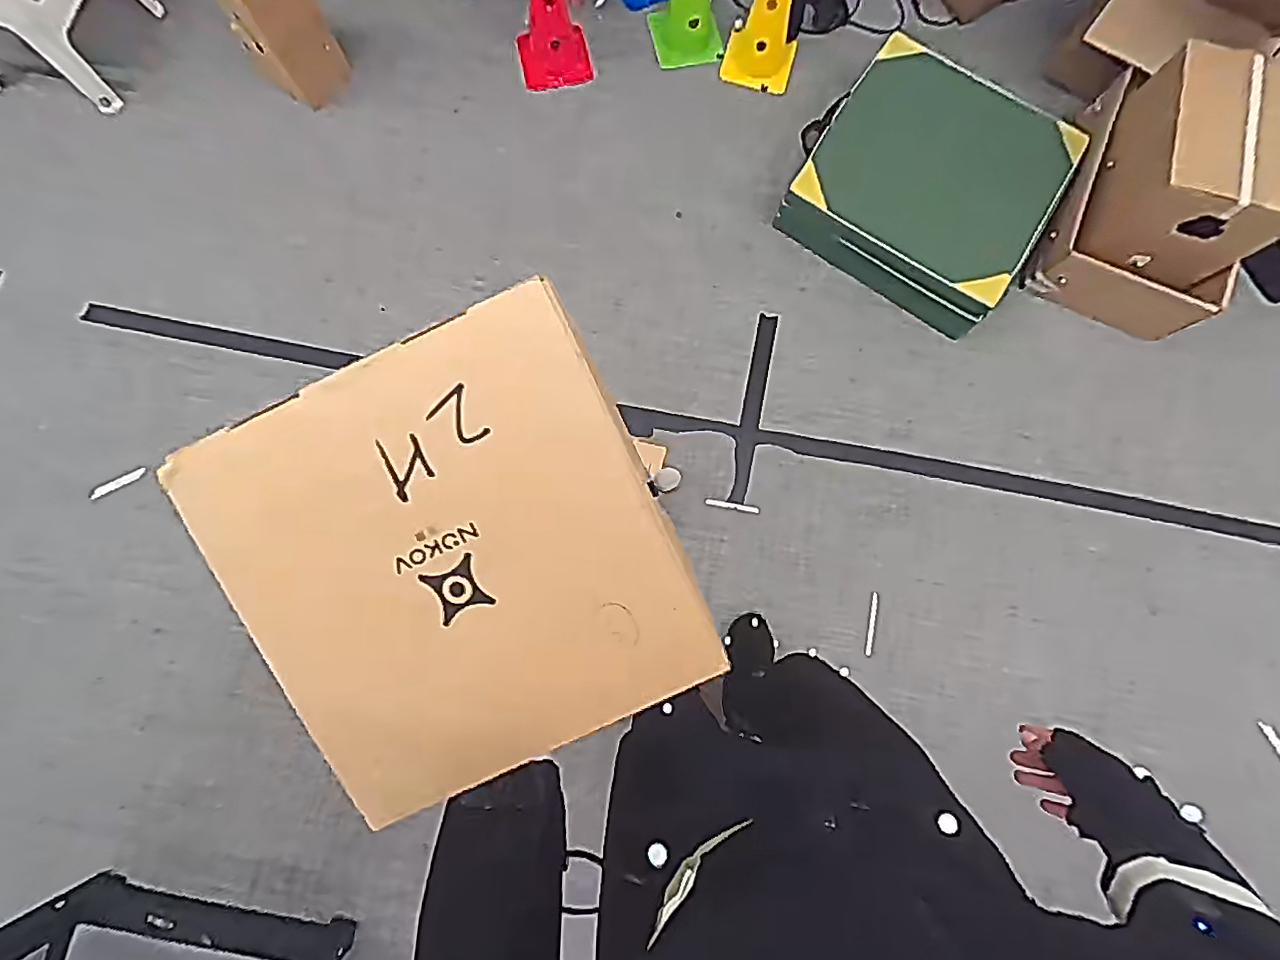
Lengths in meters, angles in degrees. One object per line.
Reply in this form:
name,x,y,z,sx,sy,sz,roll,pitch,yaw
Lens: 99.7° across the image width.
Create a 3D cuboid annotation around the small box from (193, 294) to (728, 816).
small box,-0.070,0.027,0.300,0.168,0.176,0.179,-25,97,1
